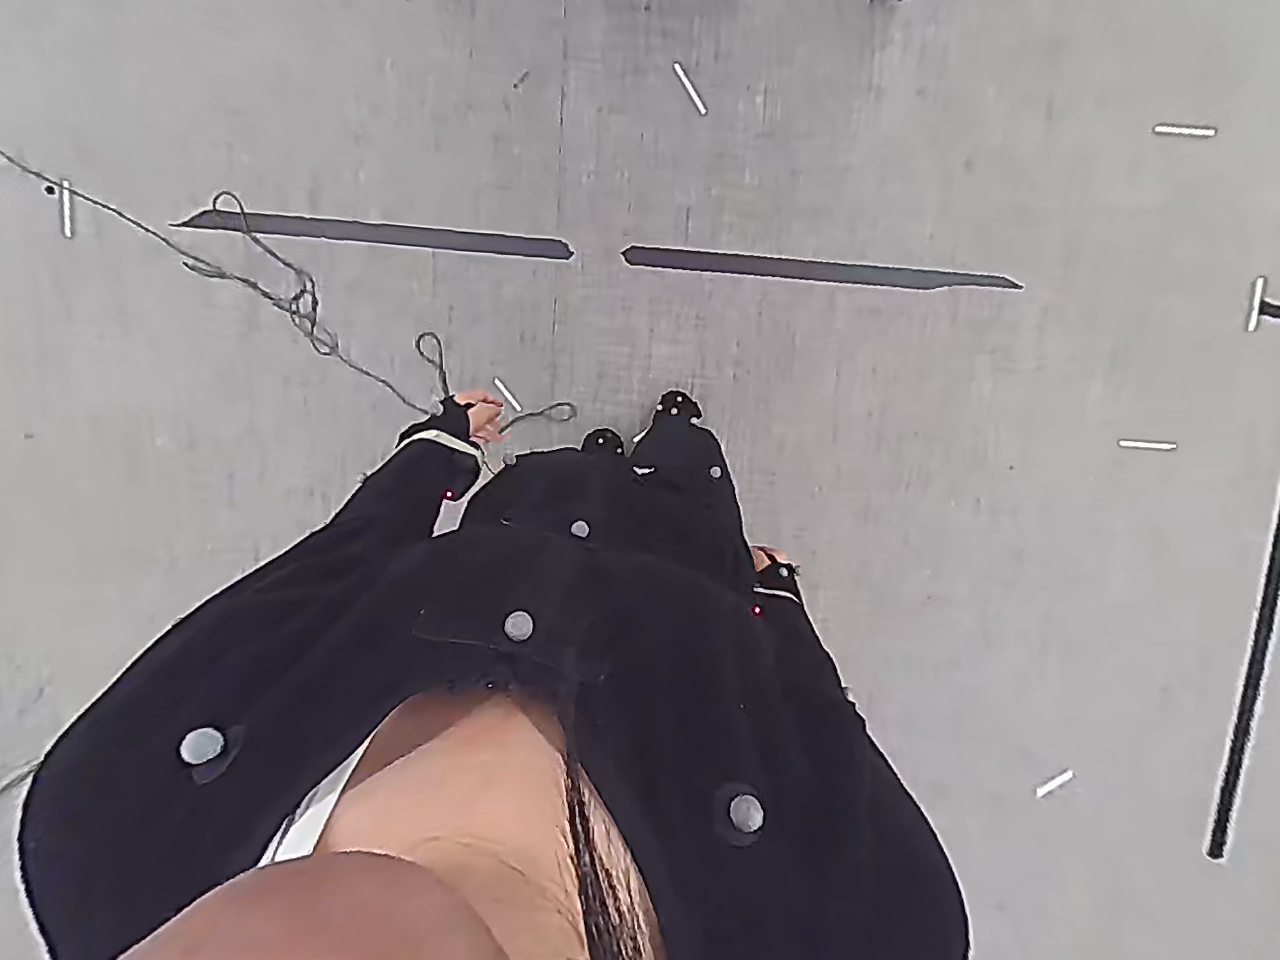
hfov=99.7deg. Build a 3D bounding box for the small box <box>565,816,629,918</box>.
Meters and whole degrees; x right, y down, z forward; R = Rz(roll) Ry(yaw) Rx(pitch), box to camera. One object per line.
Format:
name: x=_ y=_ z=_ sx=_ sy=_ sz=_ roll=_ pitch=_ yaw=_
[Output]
small box: x=-0.116 y=1.072 z=1.515 sx=0.168 sy=0.176 sz=0.179 roll=-3 pitch=96 yaw=0
